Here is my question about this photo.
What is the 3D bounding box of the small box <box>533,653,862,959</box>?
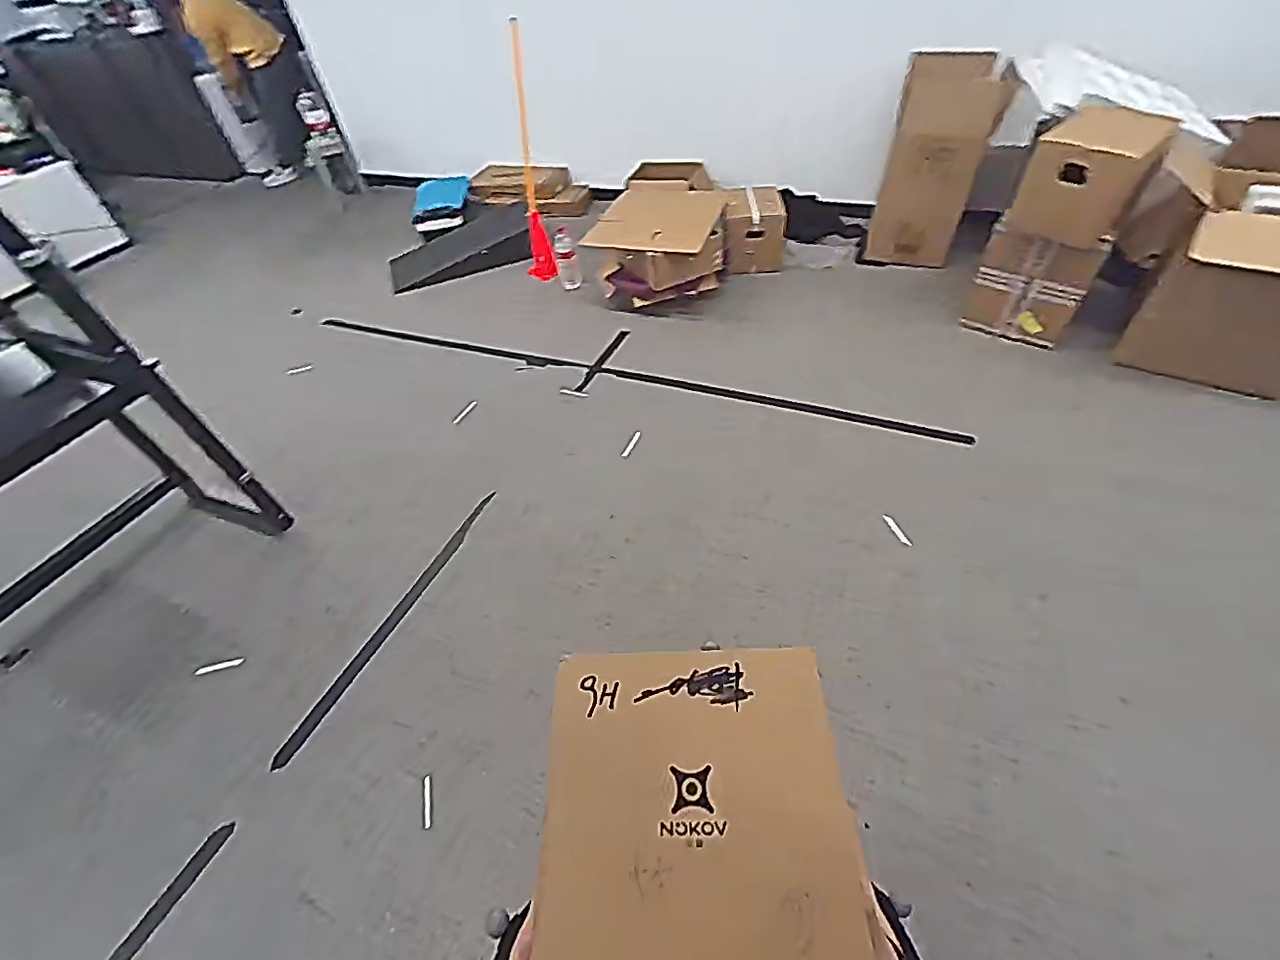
[{"bbox_3d":[0.034,0.232,0.366,0.168,0.176,0.179,-3,53,3],"label":"small box"}]
